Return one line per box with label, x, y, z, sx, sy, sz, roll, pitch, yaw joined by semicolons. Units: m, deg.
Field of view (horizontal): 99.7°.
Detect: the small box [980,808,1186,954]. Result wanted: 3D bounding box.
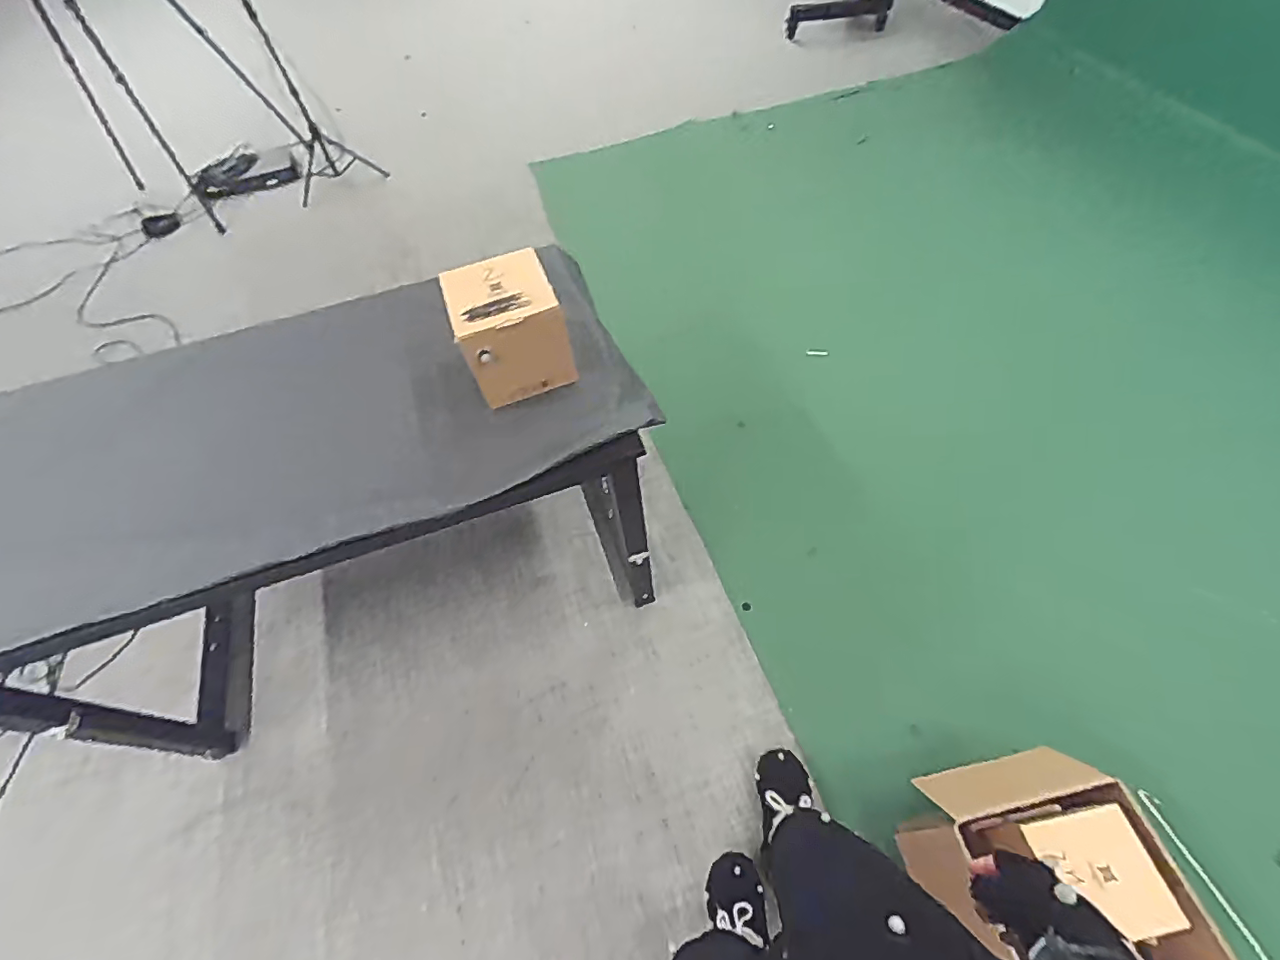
small box;0.731;0.671;0.919;0.179;0.176;0.168;-10;55;-2
